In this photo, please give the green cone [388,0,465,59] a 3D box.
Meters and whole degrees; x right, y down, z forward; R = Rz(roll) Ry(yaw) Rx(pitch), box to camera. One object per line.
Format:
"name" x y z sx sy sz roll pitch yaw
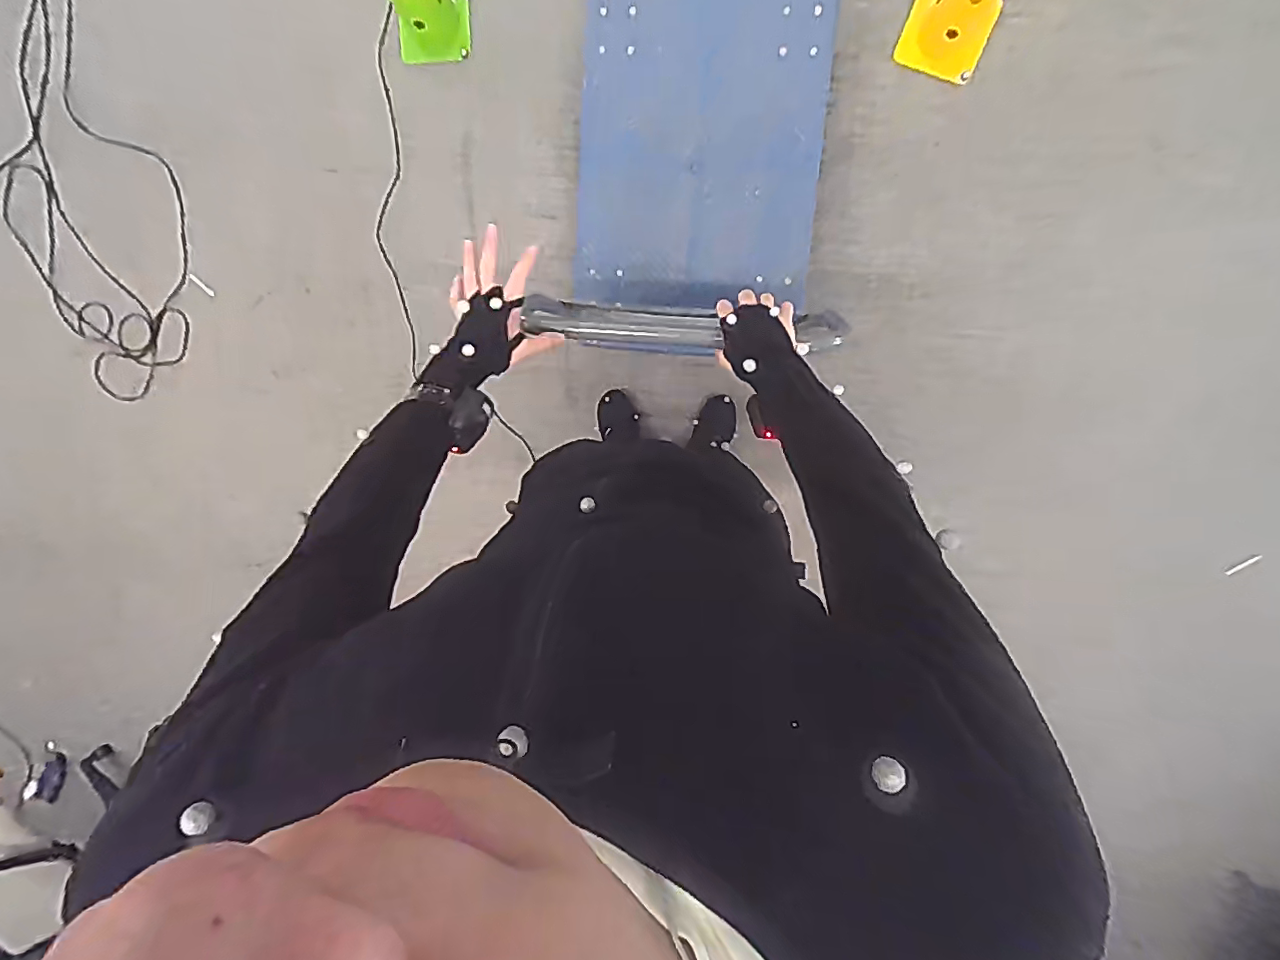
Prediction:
"green cone" -0.595 -1.218 1.284 0.202 0.368 0.200 1 101 8
